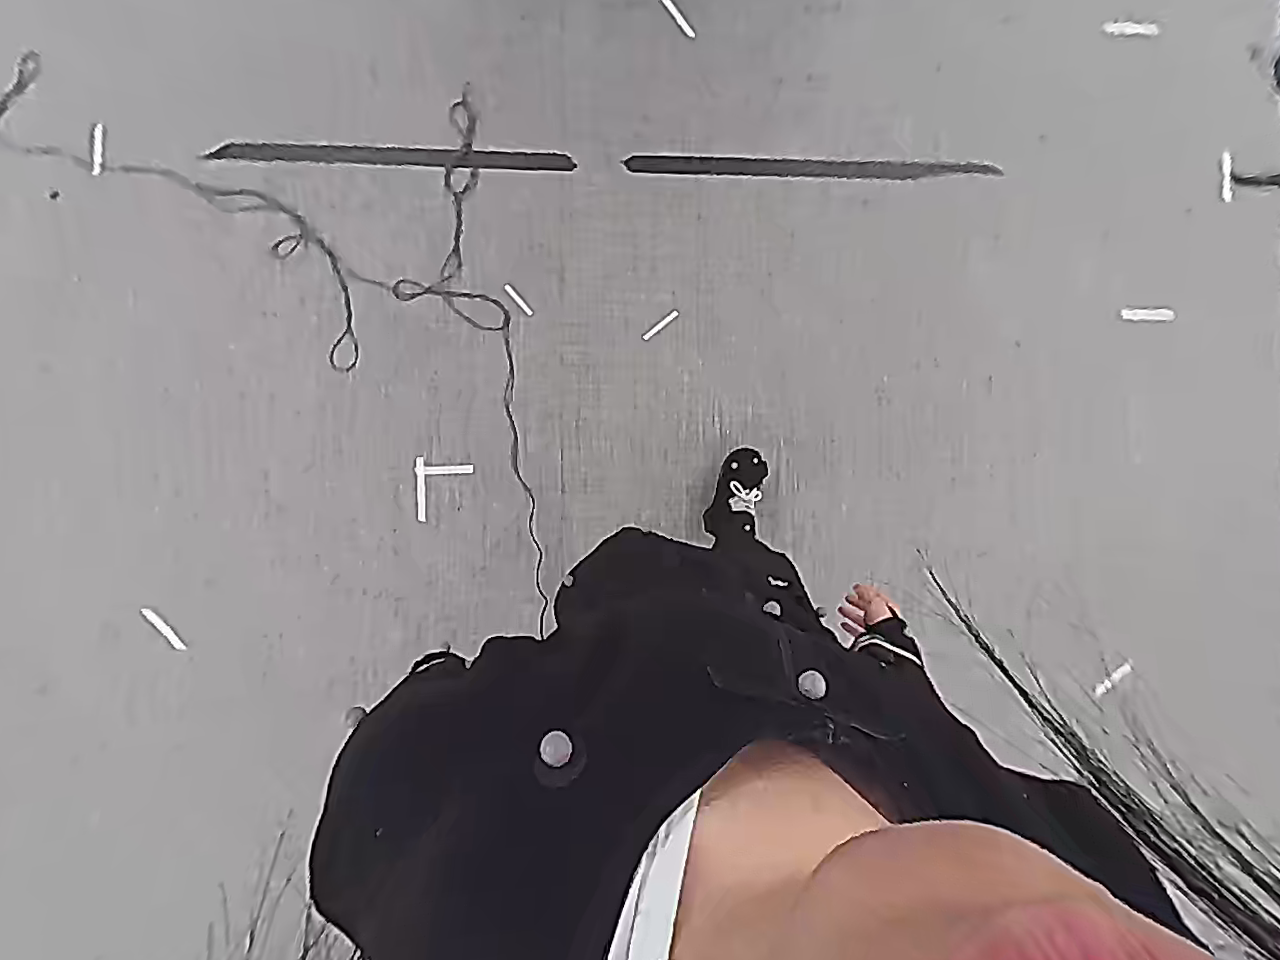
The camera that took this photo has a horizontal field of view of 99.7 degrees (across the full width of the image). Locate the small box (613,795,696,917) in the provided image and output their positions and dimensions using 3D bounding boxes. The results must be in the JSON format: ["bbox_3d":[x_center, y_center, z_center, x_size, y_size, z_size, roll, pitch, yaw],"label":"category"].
[{"bbox_3d":[0.032,0.852,1.239,0.179,0.176,0.168,1,91,-1],"label":"small box"}]
